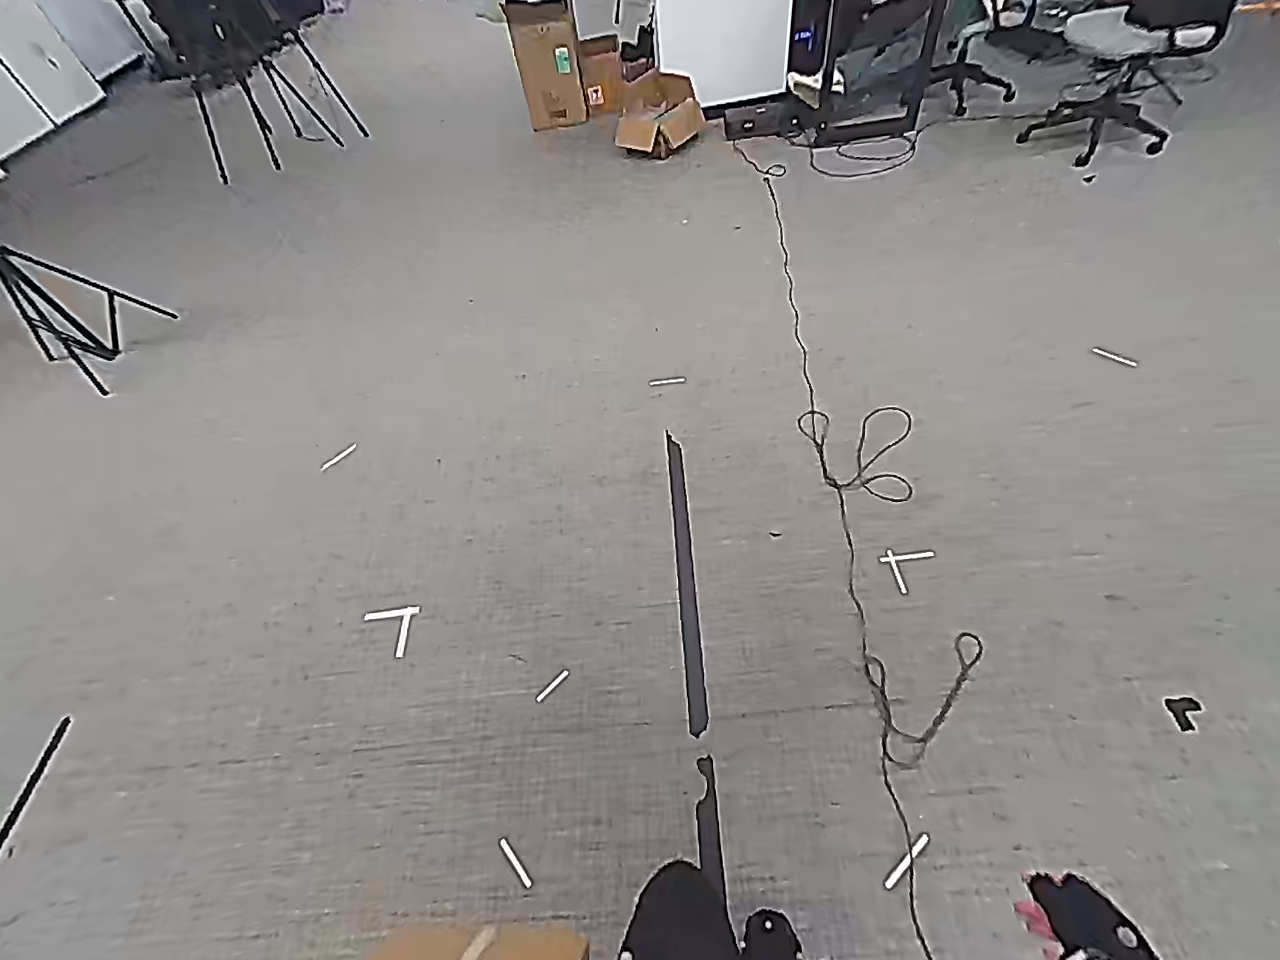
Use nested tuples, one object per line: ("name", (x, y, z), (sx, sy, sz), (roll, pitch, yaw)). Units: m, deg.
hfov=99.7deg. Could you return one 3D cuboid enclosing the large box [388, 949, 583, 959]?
("large box", (-0.250, 0.827, 0.618), (0.320, 0.408, 0.320), (-4, 71, 4))
